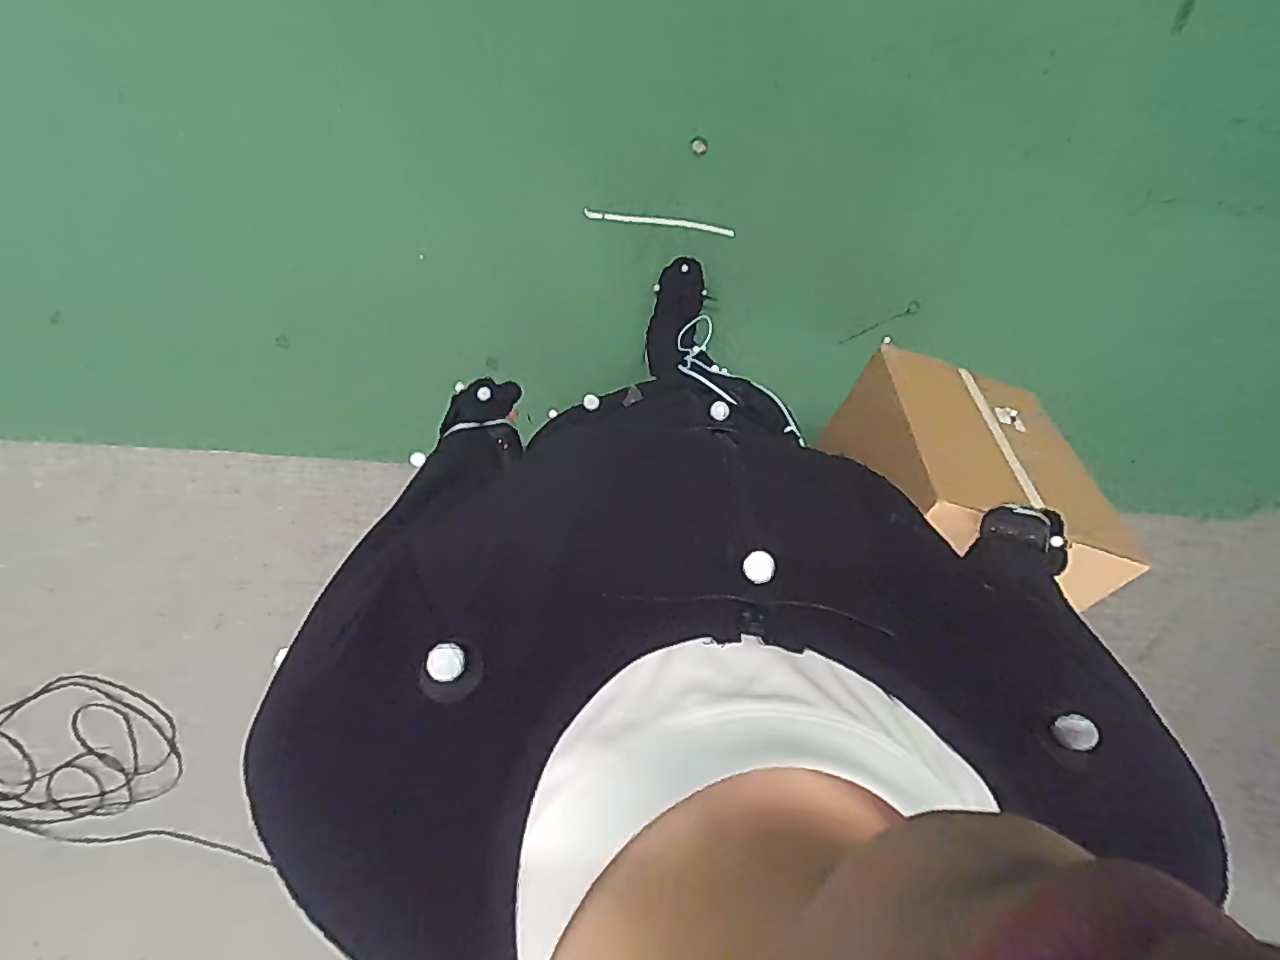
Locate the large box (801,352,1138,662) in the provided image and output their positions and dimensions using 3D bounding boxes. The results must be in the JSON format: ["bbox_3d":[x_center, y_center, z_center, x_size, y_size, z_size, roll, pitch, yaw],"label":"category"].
[{"bbox_3d":[0.507,0.042,0.950,0.320,0.408,0.320,17,132,-5],"label":"large box"}]
